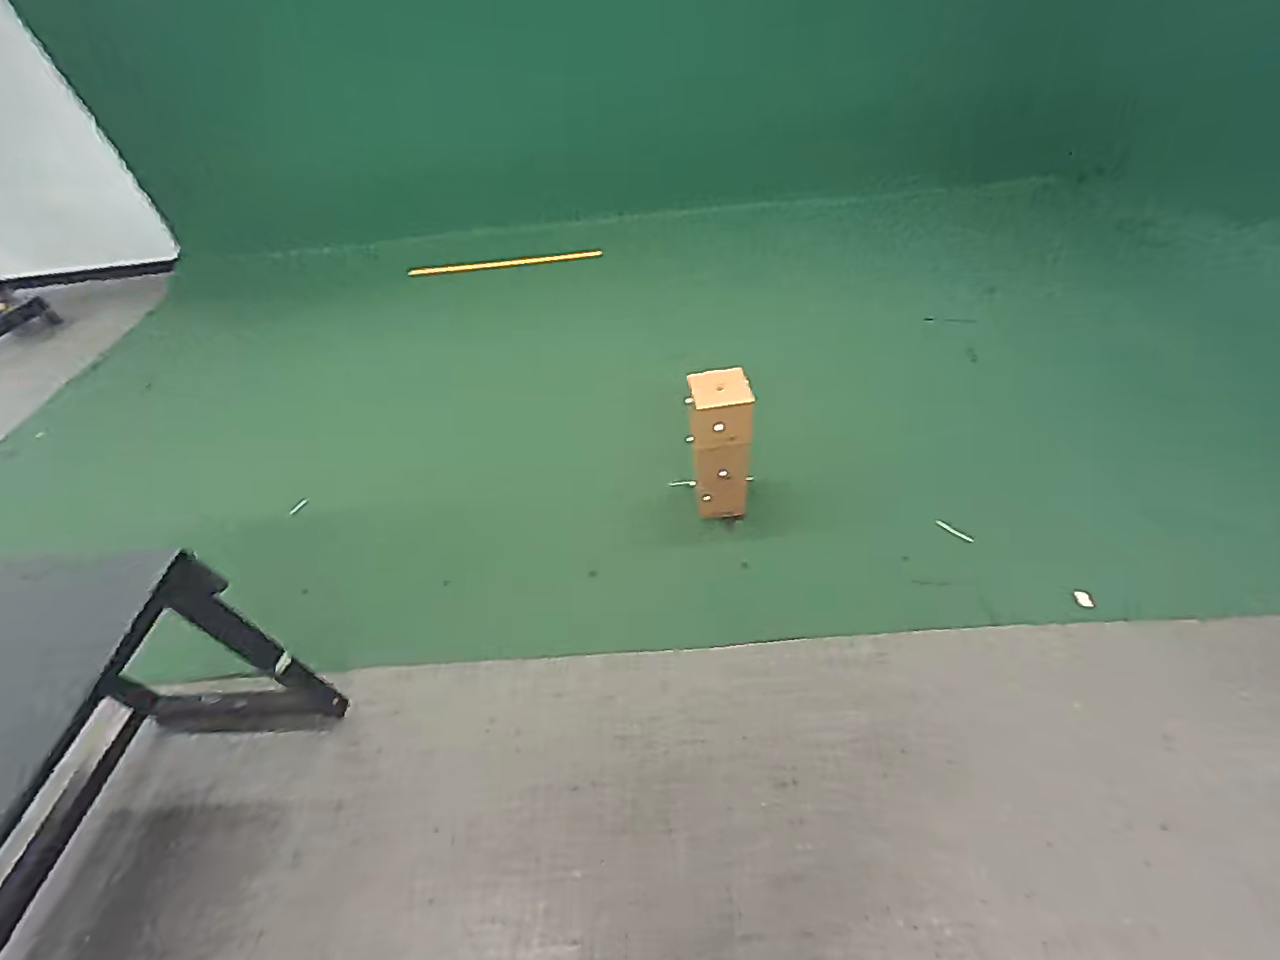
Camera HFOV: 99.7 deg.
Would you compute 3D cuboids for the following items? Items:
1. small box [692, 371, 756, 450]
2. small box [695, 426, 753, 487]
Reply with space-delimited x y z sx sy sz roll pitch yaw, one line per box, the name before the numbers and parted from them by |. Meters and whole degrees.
small box | 0.257 -0.208 1.670 0.168 0.176 0.179 -8 45 0
small box | 0.272 -0.099 1.789 0.168 0.176 0.179 -7 46 2
